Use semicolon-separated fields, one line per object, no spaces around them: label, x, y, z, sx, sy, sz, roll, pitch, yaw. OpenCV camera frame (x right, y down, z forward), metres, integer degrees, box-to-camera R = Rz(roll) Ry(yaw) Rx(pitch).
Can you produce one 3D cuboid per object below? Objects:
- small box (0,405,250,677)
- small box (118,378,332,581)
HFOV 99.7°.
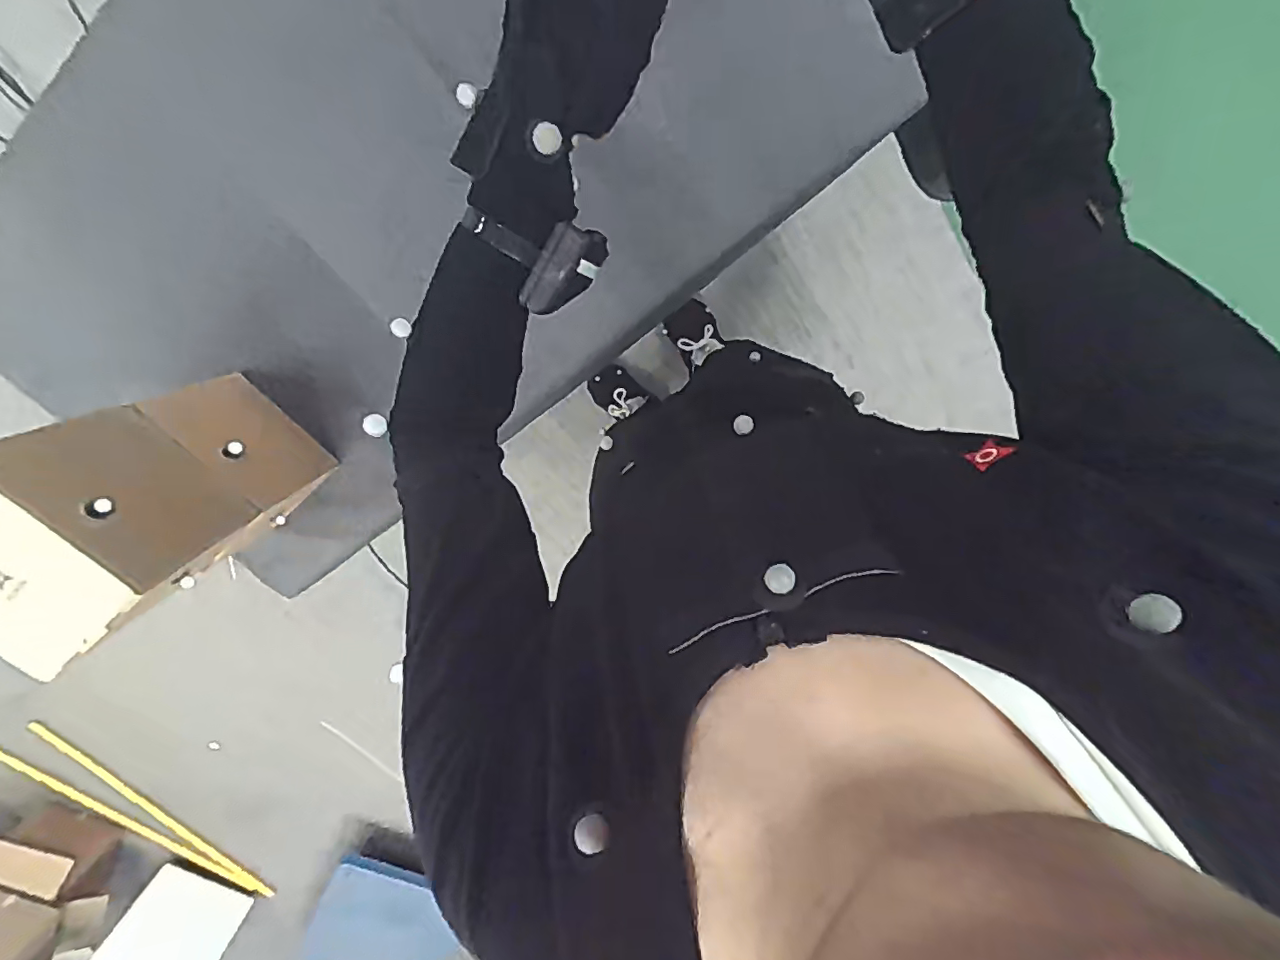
small box;-0.554;0.051;0.542;0.168;0.176;0.179;-36;108;14
small box;-0.550;-0.012;0.692;0.168;0.176;0.179;-37;108;15
